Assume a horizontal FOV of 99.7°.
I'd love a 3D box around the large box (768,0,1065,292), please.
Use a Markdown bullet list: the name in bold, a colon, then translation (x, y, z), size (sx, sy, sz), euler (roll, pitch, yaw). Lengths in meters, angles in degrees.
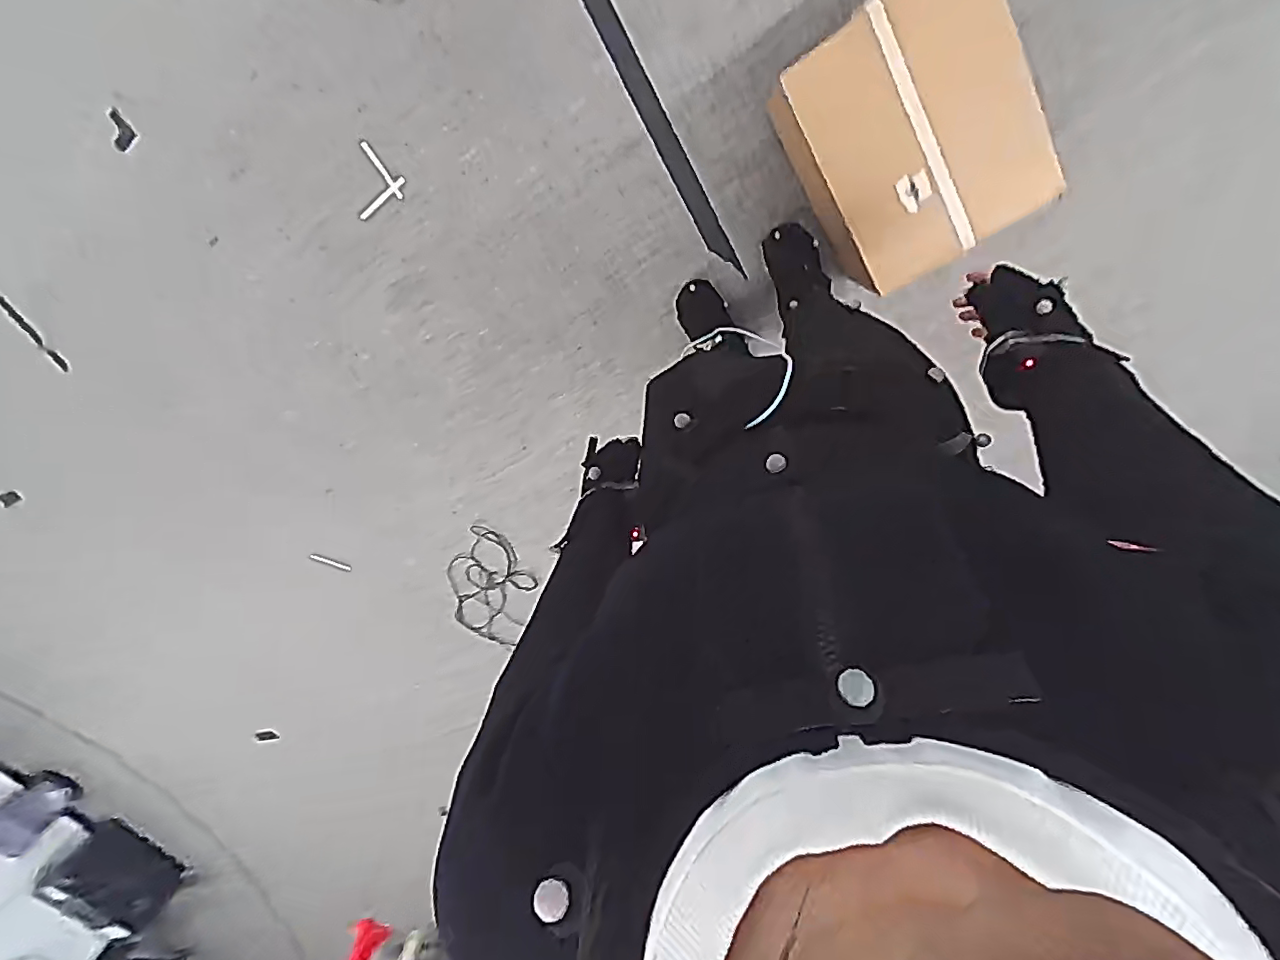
- **large box**: translation (0.478, -0.628, 1.004), size (0.320, 0.320, 0.408), euler (-28, 110, 22)
